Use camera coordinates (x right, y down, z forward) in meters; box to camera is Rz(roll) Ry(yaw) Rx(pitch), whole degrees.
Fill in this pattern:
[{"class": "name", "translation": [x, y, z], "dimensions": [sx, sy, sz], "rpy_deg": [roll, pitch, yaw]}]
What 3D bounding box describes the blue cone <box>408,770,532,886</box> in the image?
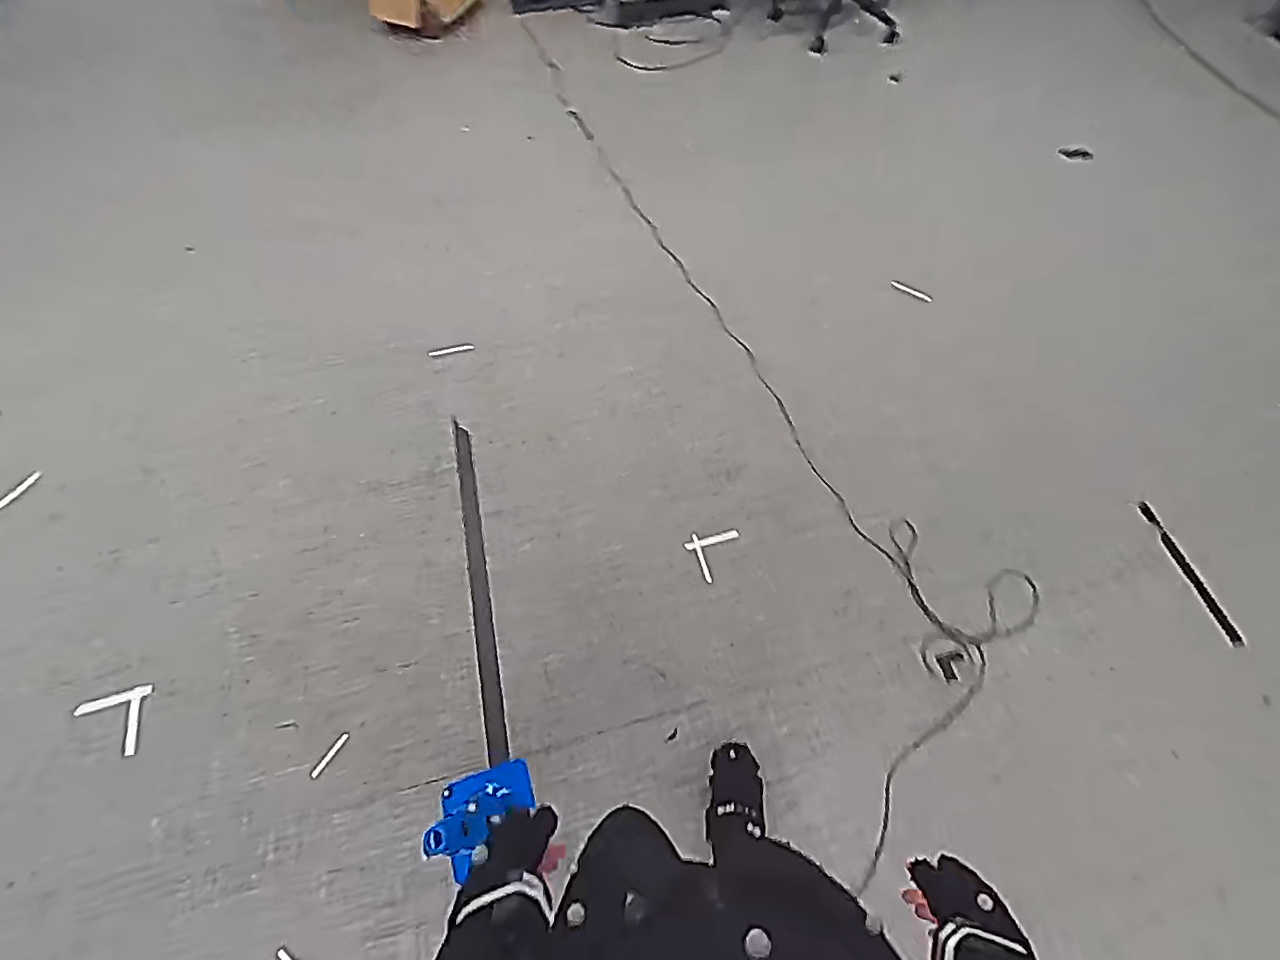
[{"class": "blue cone", "translation": [-0.349, 0.691, 1.056], "dimensions": [0.192, 0.380, 0.193], "rpy_deg": [-17, 63, -6]}]
